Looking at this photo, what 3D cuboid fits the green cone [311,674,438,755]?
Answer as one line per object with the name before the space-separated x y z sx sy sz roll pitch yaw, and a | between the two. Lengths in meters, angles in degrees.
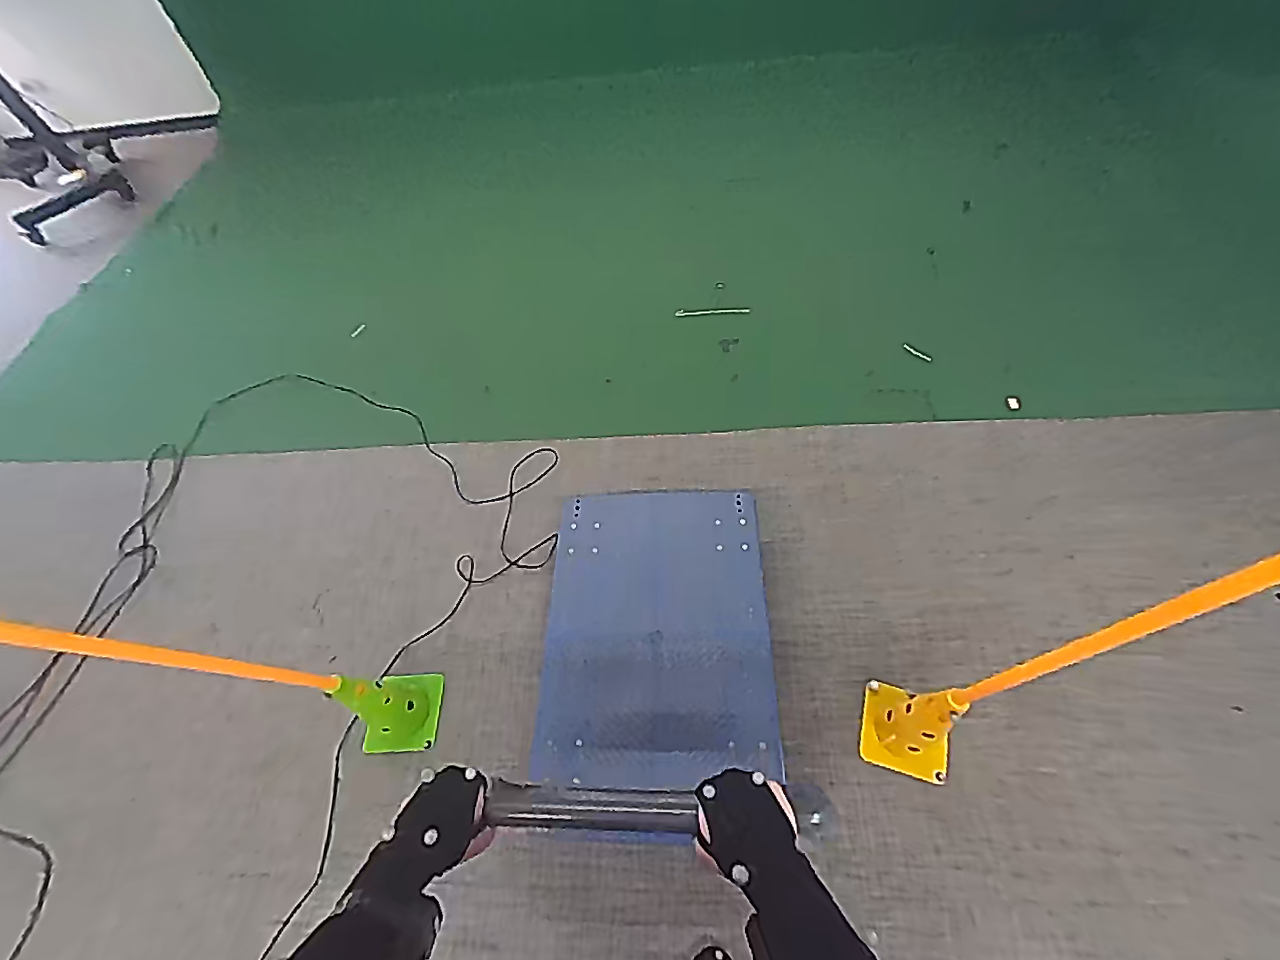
green cone | -0.686 0.547 1.349 0.202 0.368 0.200 -6 55 5
